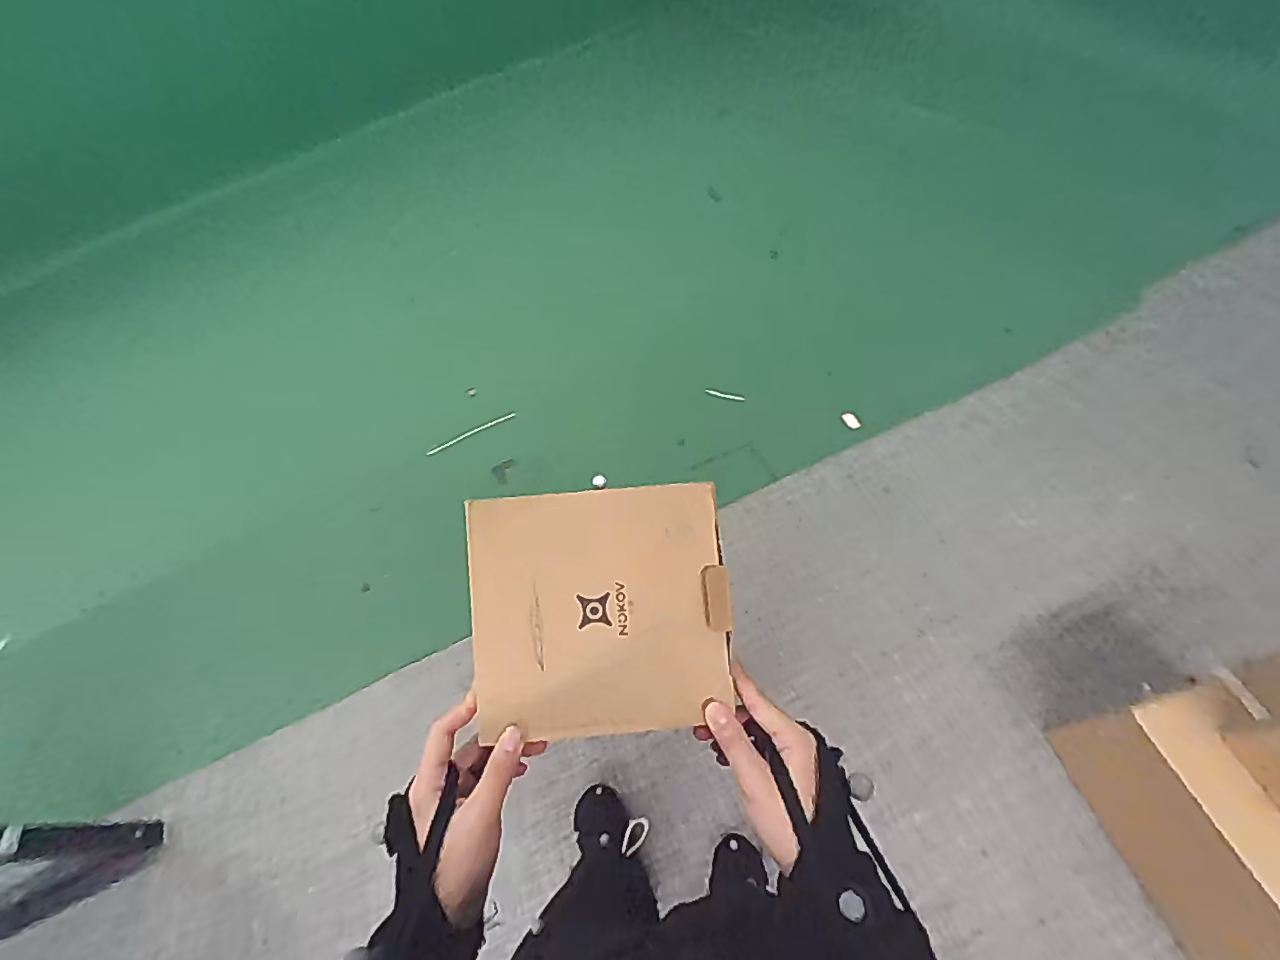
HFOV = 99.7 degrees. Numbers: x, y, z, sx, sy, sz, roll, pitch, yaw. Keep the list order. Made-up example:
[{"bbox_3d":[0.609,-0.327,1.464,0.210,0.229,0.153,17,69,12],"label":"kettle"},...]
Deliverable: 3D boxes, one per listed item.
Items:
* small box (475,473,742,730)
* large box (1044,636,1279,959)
[{"bbox_3d":[-0.024,0.089,0.450,0.179,0.176,0.168,-5,84,0],"label":"small box"},{"bbox_3d":[0.968,0.511,0.845,0.320,0.320,0.408,-21,59,1],"label":"large box"}]
